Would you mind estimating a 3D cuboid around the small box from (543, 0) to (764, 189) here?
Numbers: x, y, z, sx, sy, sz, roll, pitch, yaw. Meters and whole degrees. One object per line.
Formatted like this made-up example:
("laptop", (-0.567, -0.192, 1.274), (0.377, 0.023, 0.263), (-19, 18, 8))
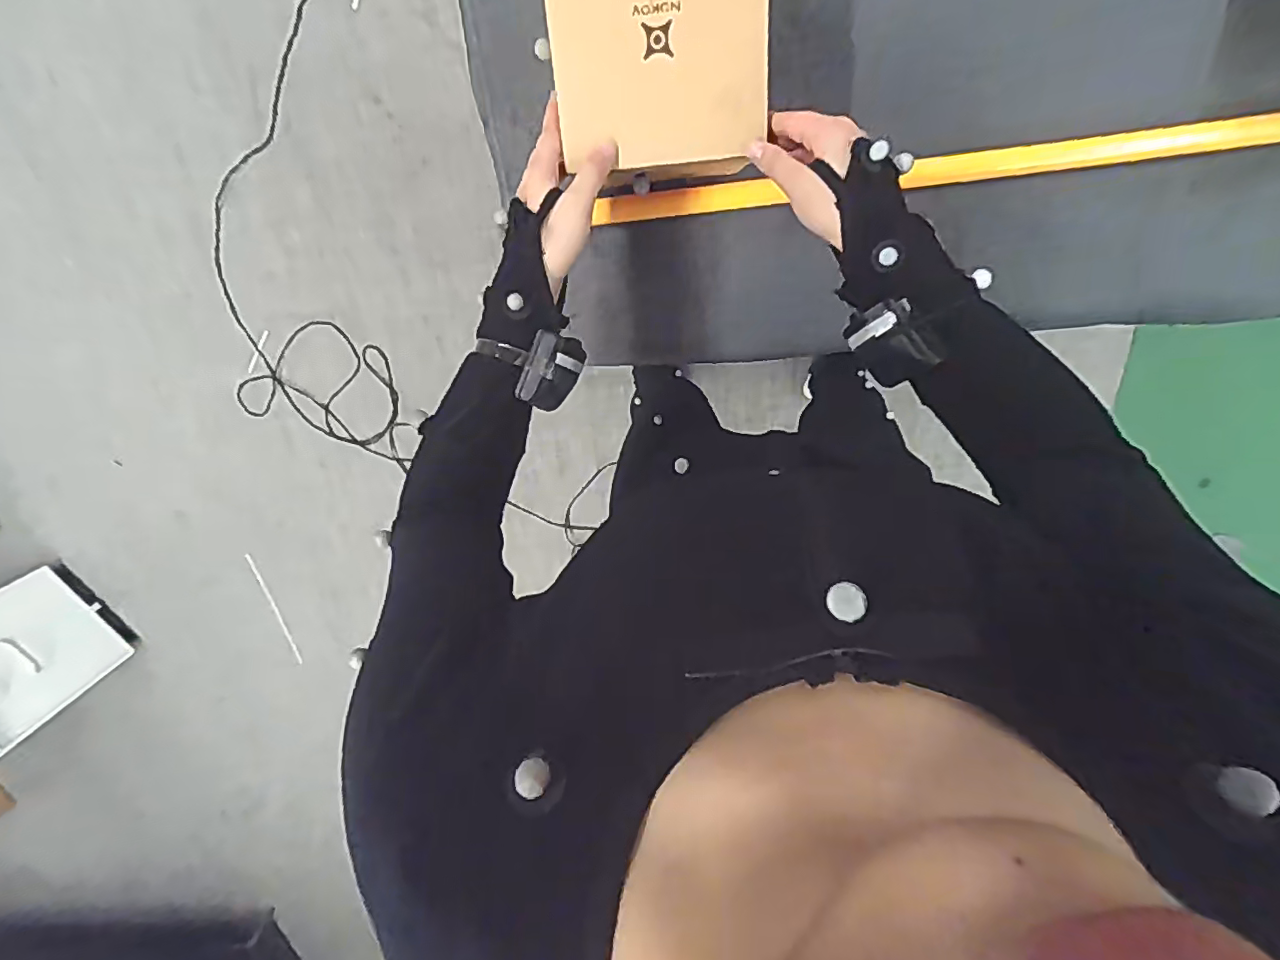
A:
("small box", (0.014, -0.363, 0.477), (0.168, 0.176, 0.179), (-4, 114, 4))
